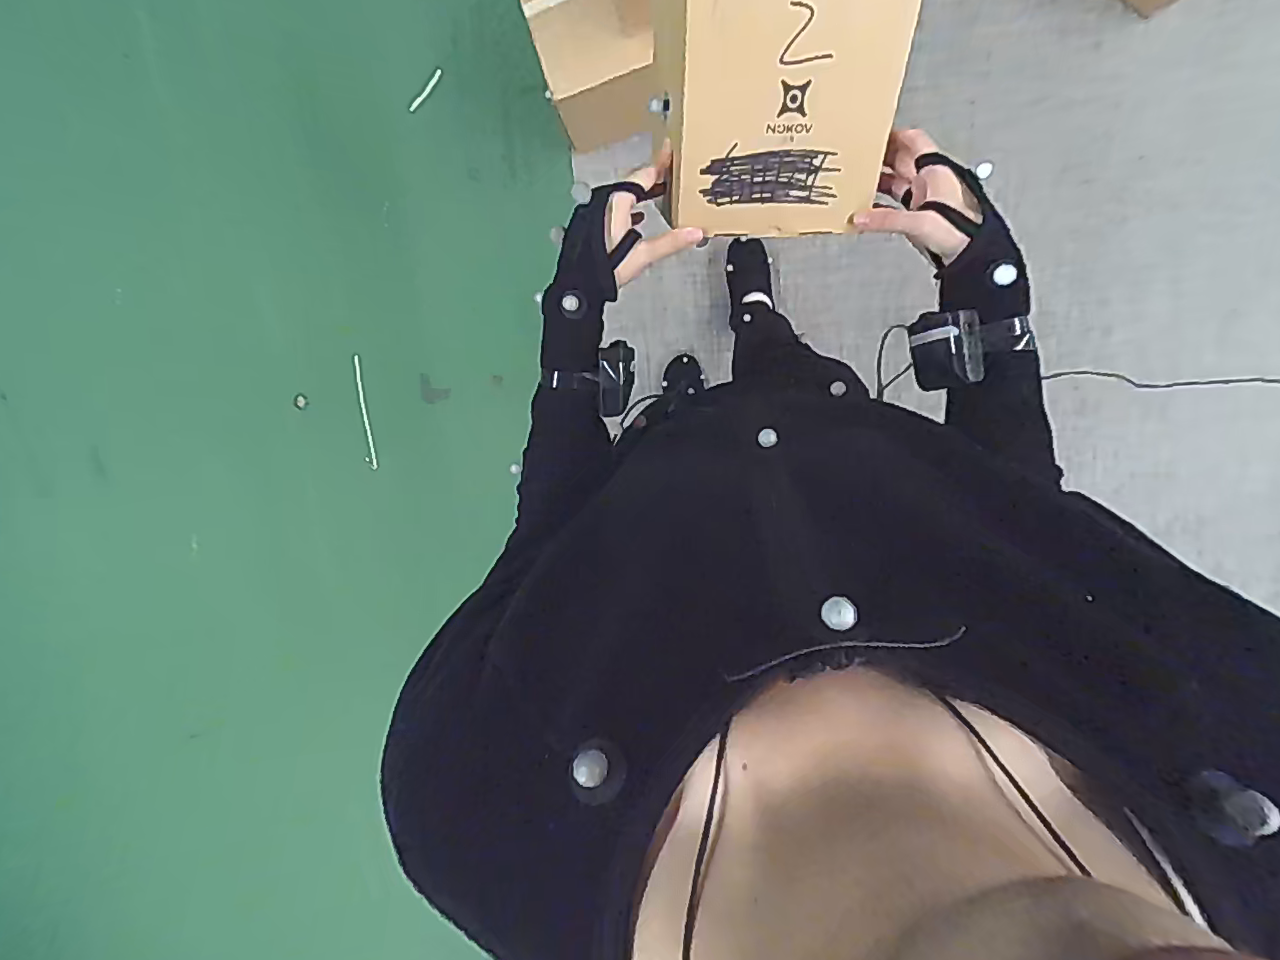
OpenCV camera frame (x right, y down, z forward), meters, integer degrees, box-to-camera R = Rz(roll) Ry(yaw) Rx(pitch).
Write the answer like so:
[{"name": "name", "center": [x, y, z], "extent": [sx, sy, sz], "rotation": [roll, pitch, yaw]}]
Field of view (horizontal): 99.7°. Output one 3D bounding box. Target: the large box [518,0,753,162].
[{"name": "large box", "center": [-0.014, -0.947, 1.141], "extent": [0.408, 0.320, 0.320], "rotation": [-17, 101, 8]}]
